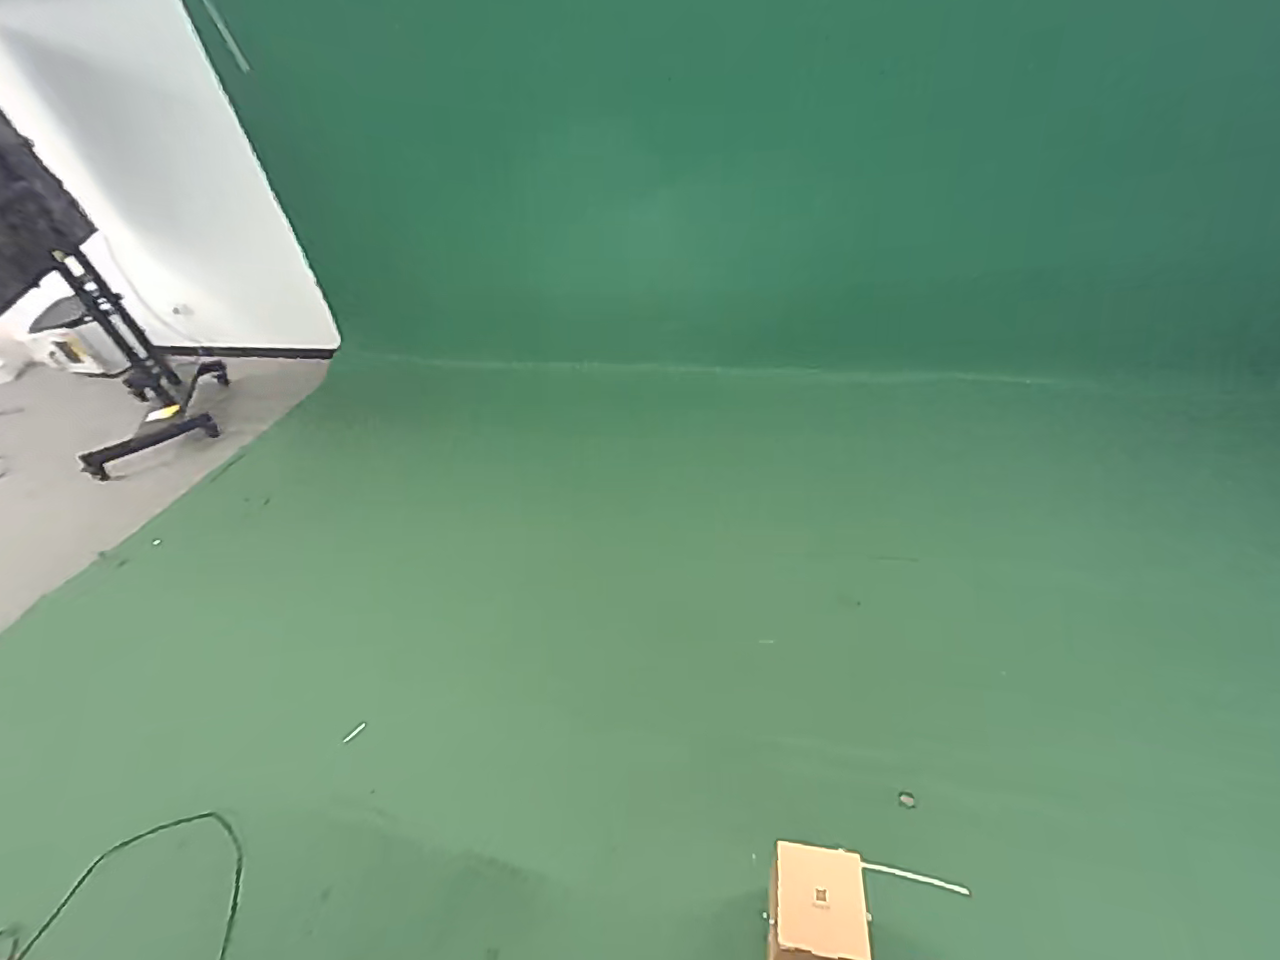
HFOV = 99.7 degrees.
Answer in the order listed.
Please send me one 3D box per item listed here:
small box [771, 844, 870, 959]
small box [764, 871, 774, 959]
[{"bbox_3d":[0.356,0.880,1.098,0.168,0.176,0.179,3,42,11],"label":"small box"},{"bbox_3d":[0.366,1.008,1.197,0.168,0.176,0.179,4,40,12],"label":"small box"}]
